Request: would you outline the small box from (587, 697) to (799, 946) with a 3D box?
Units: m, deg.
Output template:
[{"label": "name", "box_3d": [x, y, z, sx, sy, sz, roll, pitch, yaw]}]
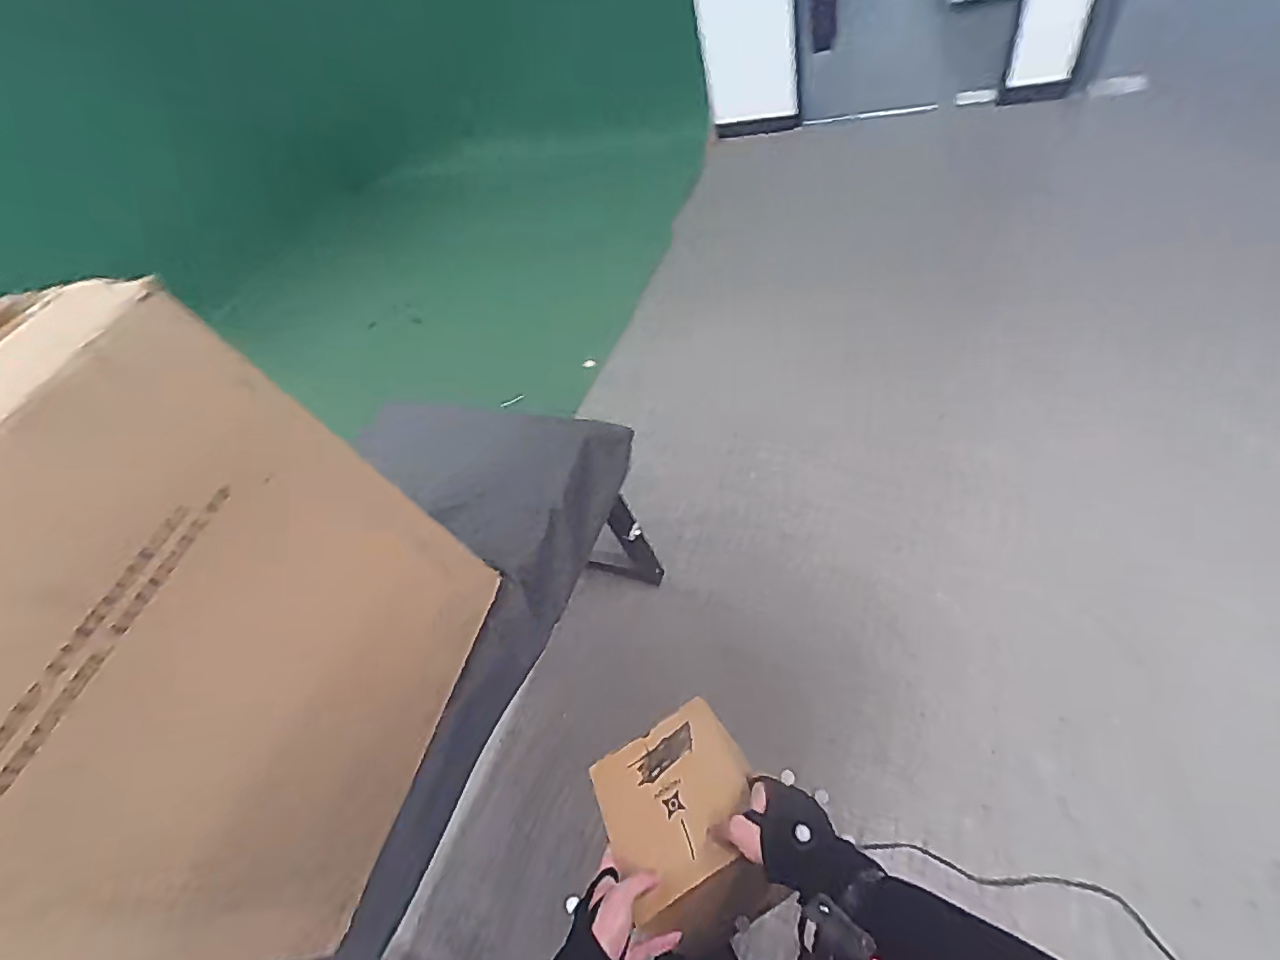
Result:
[{"label": "small box", "box_3d": [0.062, 0.411, 0.657, 0.168, 0.176, 0.179, -33, 35, -1]}]
